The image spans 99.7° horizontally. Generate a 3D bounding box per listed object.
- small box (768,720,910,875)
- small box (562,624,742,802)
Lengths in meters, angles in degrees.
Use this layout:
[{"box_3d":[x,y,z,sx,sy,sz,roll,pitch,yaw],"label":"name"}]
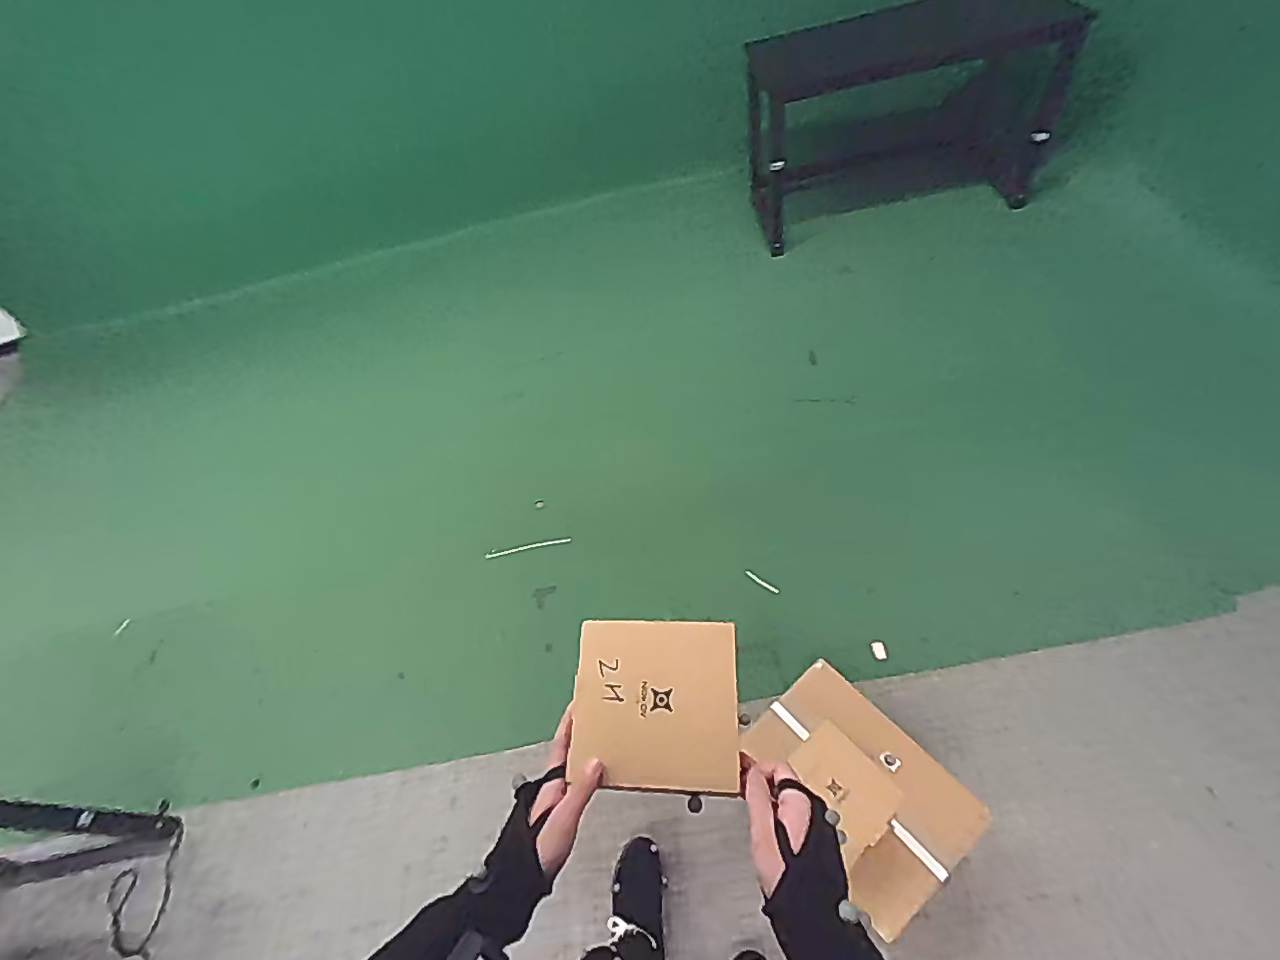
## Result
[{"box_3d":[0.356,0.583,0.996,0.168,0.176,0.179,-38,54,-15],"label":"small box"},{"box_3d":[0.023,0.271,0.625,0.179,0.176,0.168,-2,59,8],"label":"small box"}]
